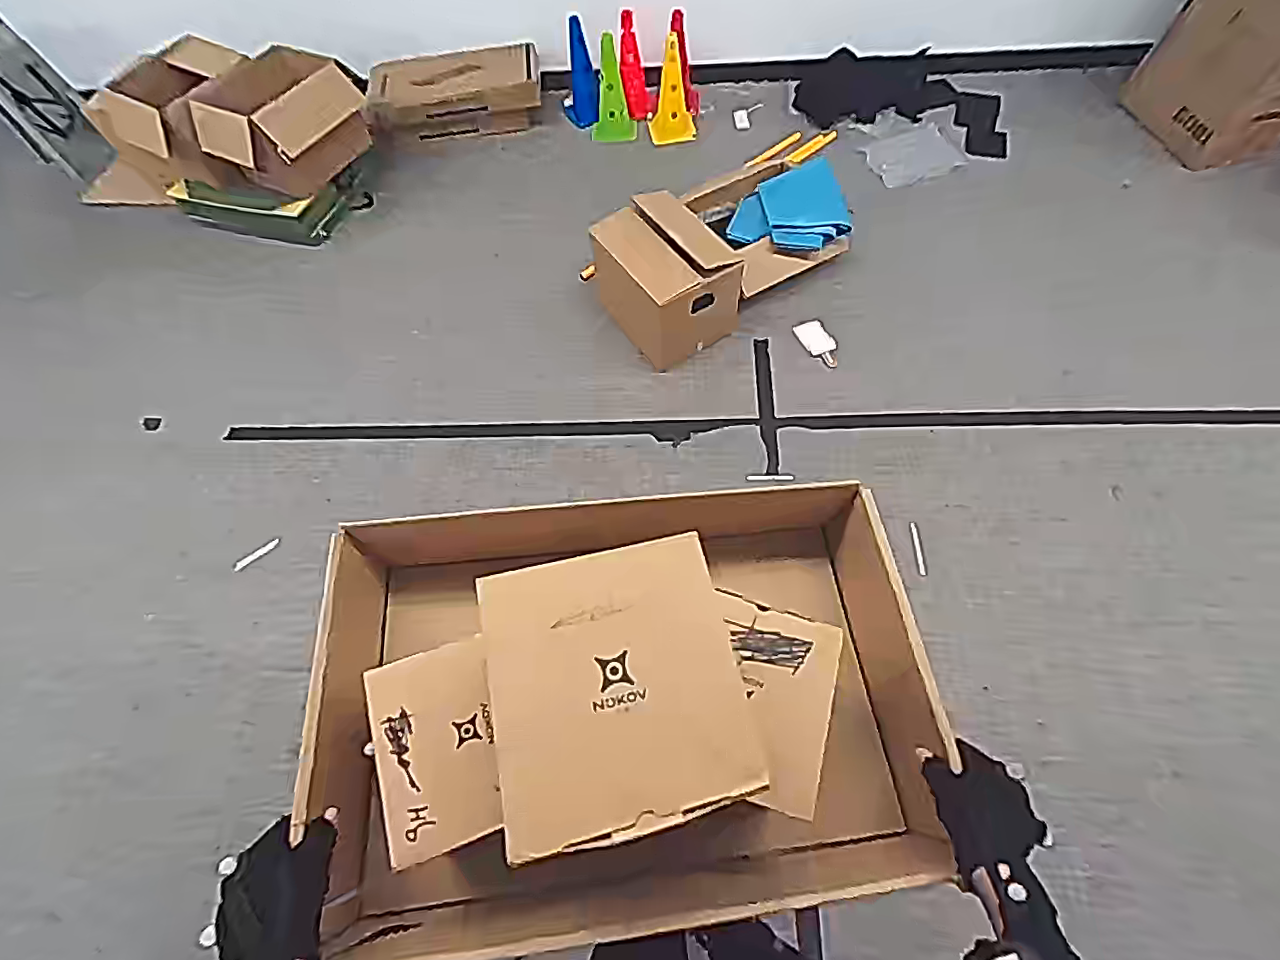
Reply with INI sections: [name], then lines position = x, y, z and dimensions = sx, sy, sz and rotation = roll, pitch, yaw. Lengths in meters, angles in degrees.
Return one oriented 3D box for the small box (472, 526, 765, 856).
[small box]
position = -0.024, 0.160, 0.427
dimensions = 0.168, 0.176, 0.179
rotation = -11, 64, -10
